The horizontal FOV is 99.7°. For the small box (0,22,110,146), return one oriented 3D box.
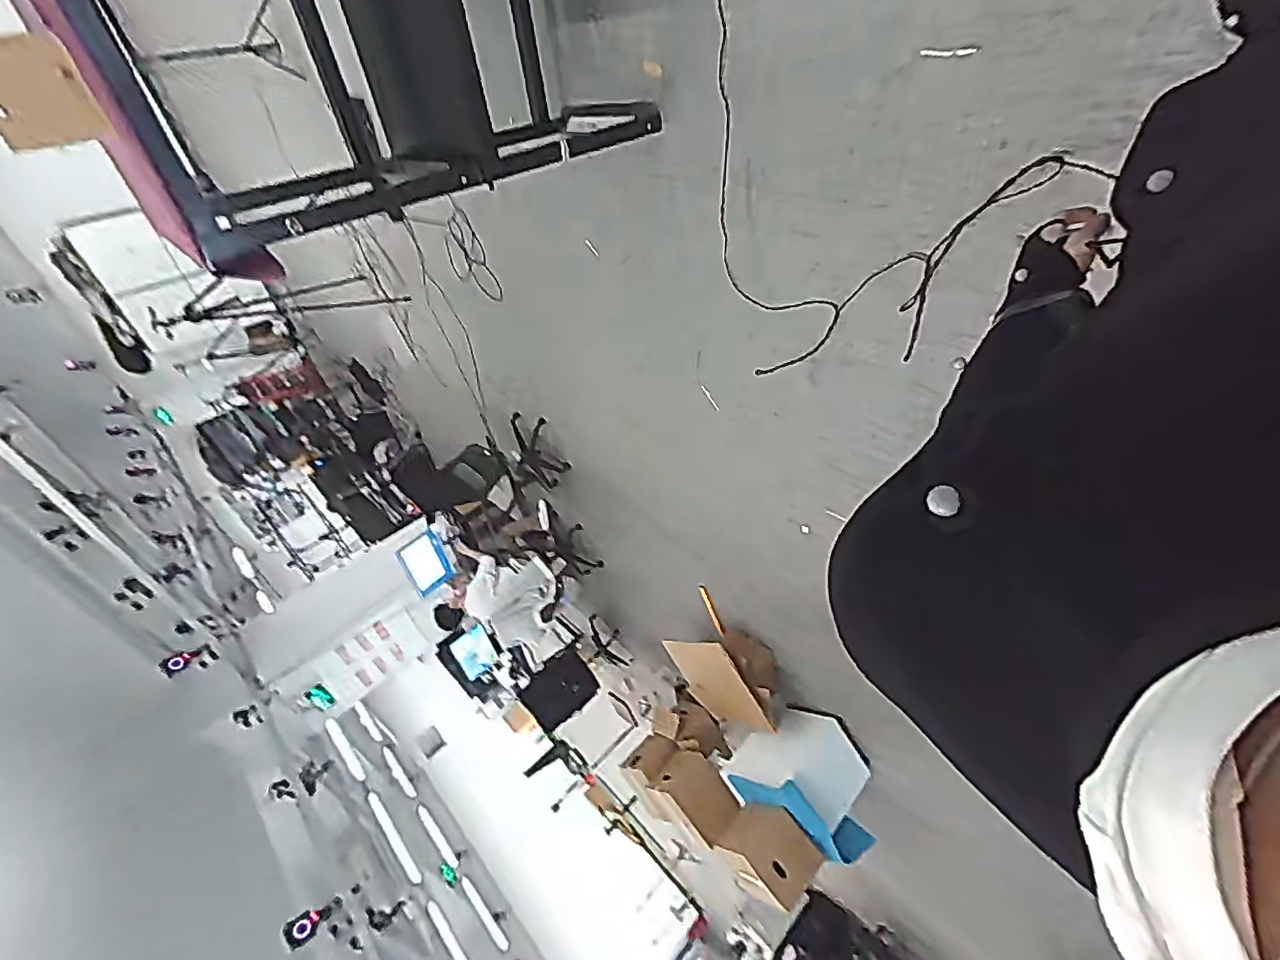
[{"bbox_3d":[-1.145,-0.736,1.007,0.179,0.176,0.168,32,144,37],"label":"small box"}]
